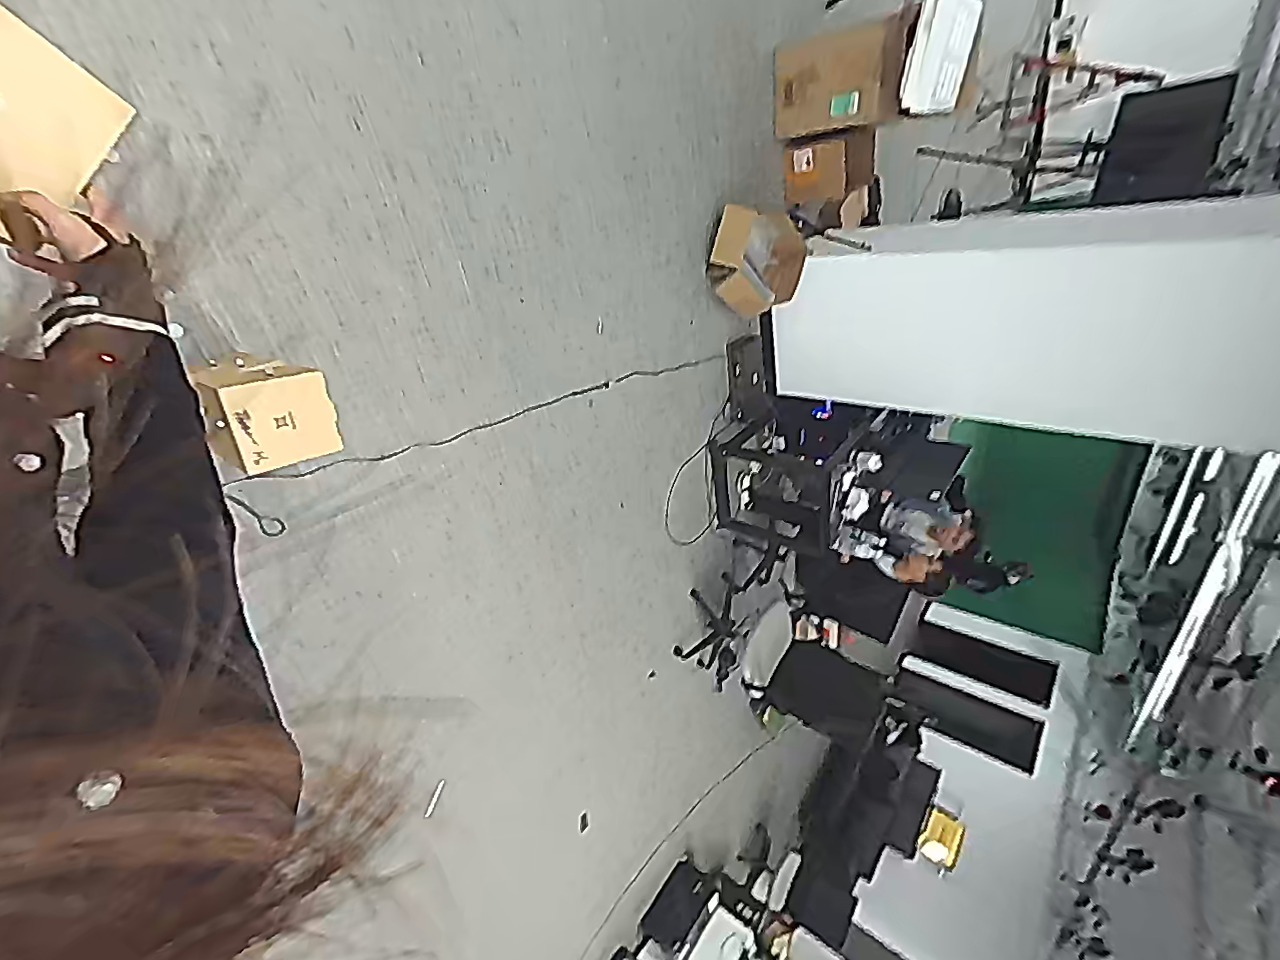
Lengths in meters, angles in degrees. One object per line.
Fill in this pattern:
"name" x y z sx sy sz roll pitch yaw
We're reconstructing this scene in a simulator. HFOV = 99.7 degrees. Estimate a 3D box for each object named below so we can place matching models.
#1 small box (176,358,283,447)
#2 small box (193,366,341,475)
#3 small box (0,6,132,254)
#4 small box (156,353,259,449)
"small box" -0.860 -0.159 1.175 0.168 0.176 0.179 -35 127 -40
"small box" -0.736 -0.127 1.072 0.179 0.176 0.168 -28 122 -45
"small box" -0.632 -0.338 0.488 0.179 0.176 0.168 -65 151 -9
"small box" -0.983 -0.193 1.274 0.179 0.176 0.168 -36 128 -38
